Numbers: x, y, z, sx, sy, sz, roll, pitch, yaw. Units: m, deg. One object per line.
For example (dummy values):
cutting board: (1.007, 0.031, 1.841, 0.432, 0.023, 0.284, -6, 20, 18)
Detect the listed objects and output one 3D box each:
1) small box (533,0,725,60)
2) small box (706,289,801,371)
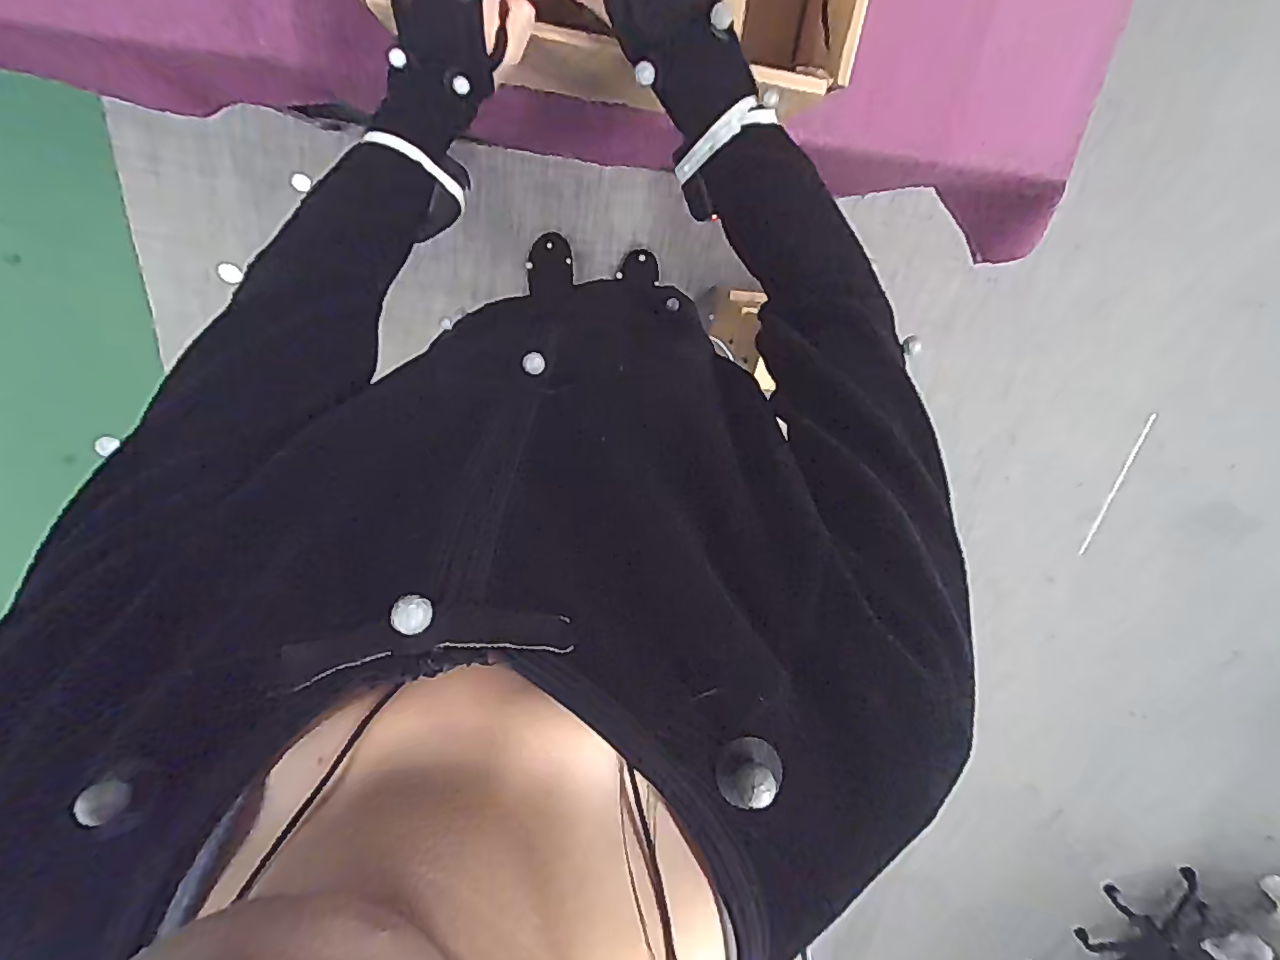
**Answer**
small box: (-0.003, -0.475, 0.435, 0.168, 0.176, 0.179, 6, 112, -6)
small box: (0.275, -0.379, 1.351, 0.179, 0.176, 0.168, 5, 113, -5)
